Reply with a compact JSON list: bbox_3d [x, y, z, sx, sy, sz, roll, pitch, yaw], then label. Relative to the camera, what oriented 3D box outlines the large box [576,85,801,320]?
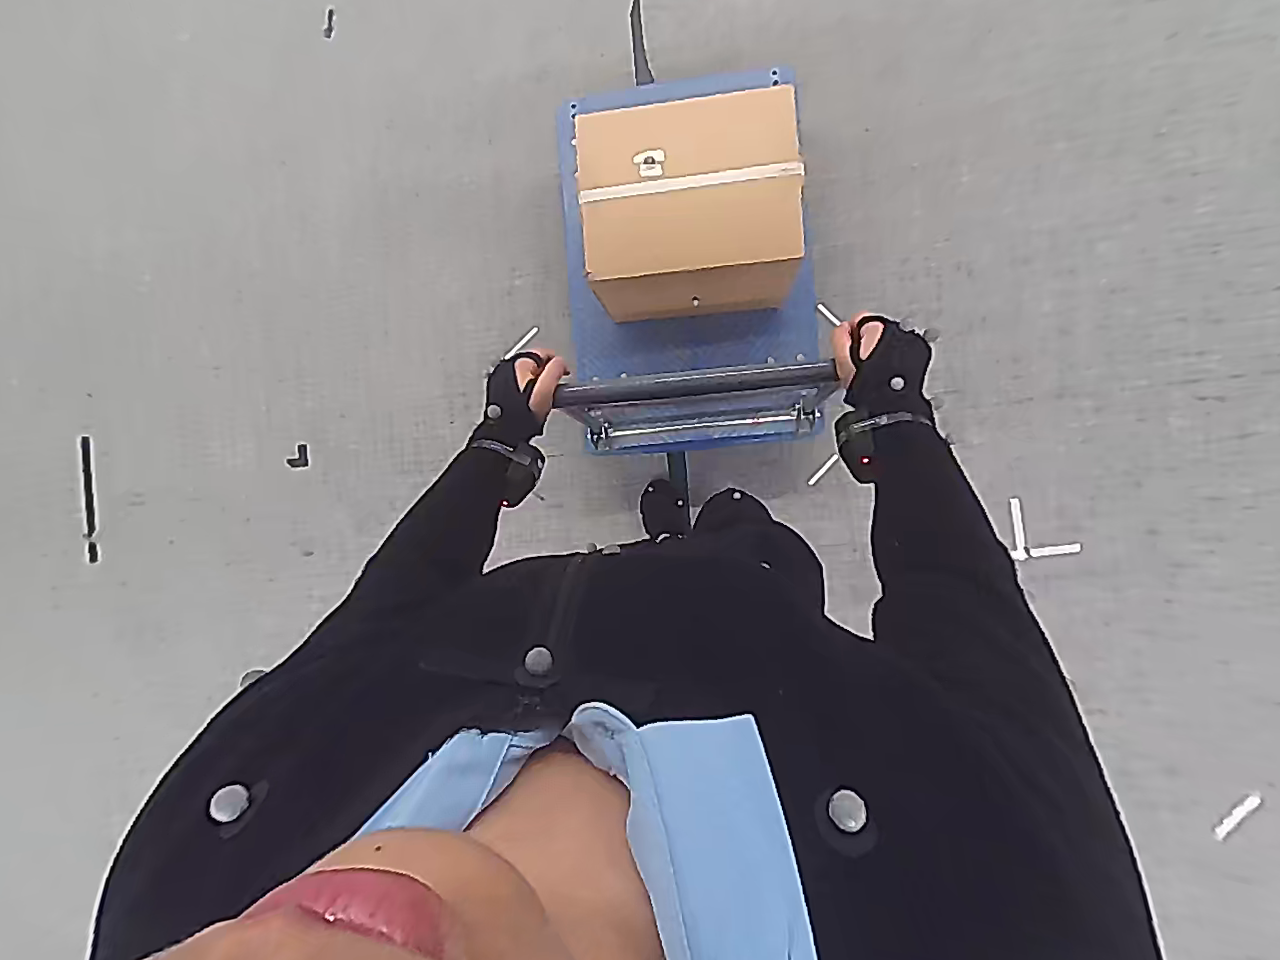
[{"bbox_3d":[0.106,-0.554,1.156,0.408,0.320,0.320,-4,90,8],"label":"large box"}]
